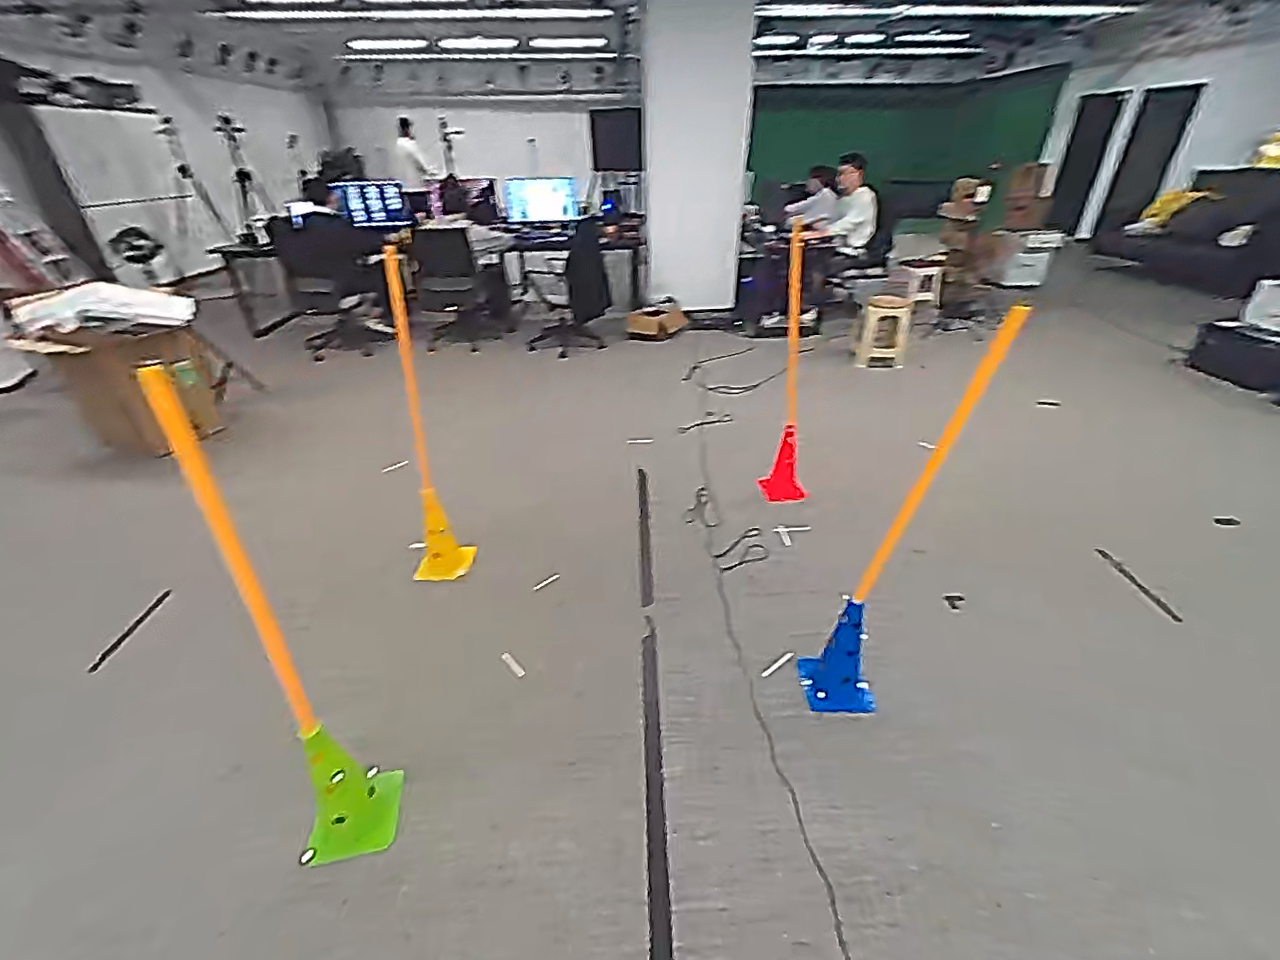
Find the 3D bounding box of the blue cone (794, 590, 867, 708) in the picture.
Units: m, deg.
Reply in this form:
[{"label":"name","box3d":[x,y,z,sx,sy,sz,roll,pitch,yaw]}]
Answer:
[{"label":"blue cone","box3d":[0.588,0.486,1.597,0.193,0.380,0.192,0,30,1]}]

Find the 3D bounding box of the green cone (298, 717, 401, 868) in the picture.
[{"label":"green cone","box3d":[-0.721,0.697,1.272,0.200,0.368,0.202,-7,30,-10]}]

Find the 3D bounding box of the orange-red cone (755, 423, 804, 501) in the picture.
[{"label":"orange-red cone","box3d":[0.668,-0.100,2.537,0.199,0.360,0.198,-6,31,-5]}]
